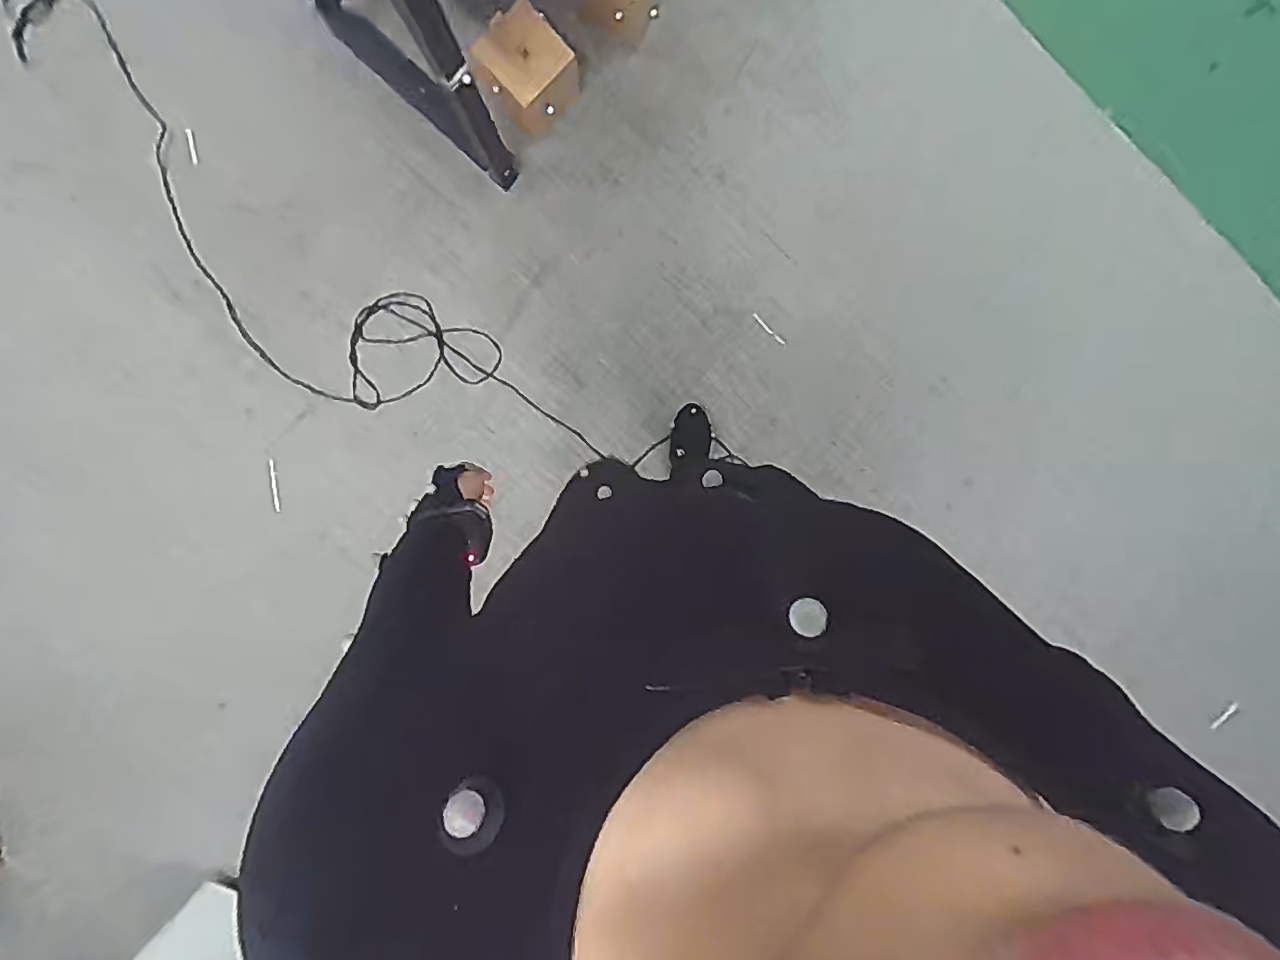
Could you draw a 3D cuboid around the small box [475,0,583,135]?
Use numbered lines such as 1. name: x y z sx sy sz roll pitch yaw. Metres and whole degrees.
1. small box: -0.255 -0.973 1.295 0.168 0.176 0.179 -44 94 4
